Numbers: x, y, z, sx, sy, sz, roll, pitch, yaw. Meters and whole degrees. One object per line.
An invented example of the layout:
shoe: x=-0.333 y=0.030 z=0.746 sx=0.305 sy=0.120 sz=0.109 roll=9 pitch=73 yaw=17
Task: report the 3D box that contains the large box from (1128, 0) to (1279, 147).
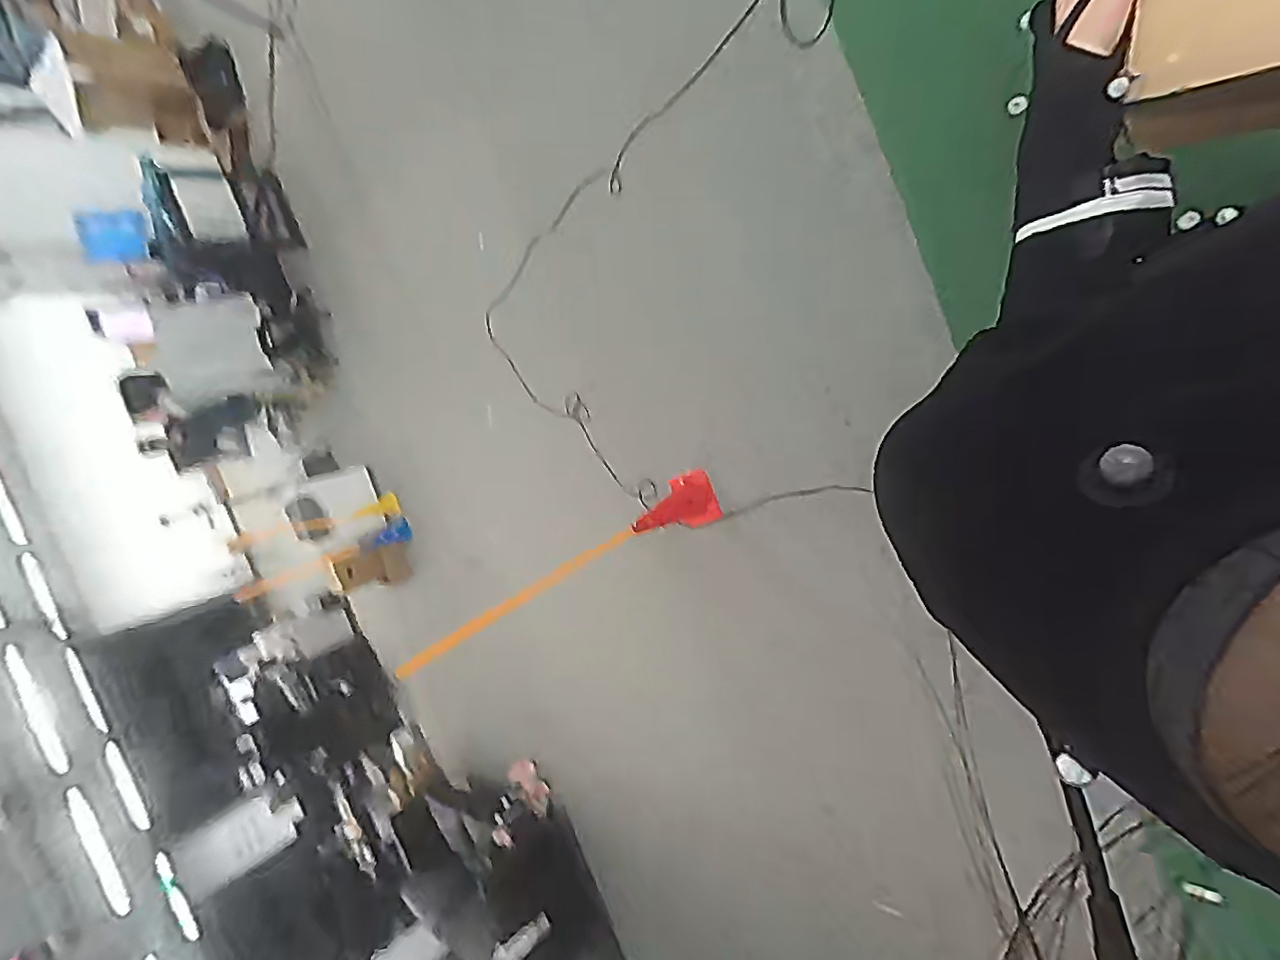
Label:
large box: x=0.578 y=-0.436 z=0.312 sx=0.408 sy=0.320 sz=0.320 roll=9 pitch=113 yaw=42
